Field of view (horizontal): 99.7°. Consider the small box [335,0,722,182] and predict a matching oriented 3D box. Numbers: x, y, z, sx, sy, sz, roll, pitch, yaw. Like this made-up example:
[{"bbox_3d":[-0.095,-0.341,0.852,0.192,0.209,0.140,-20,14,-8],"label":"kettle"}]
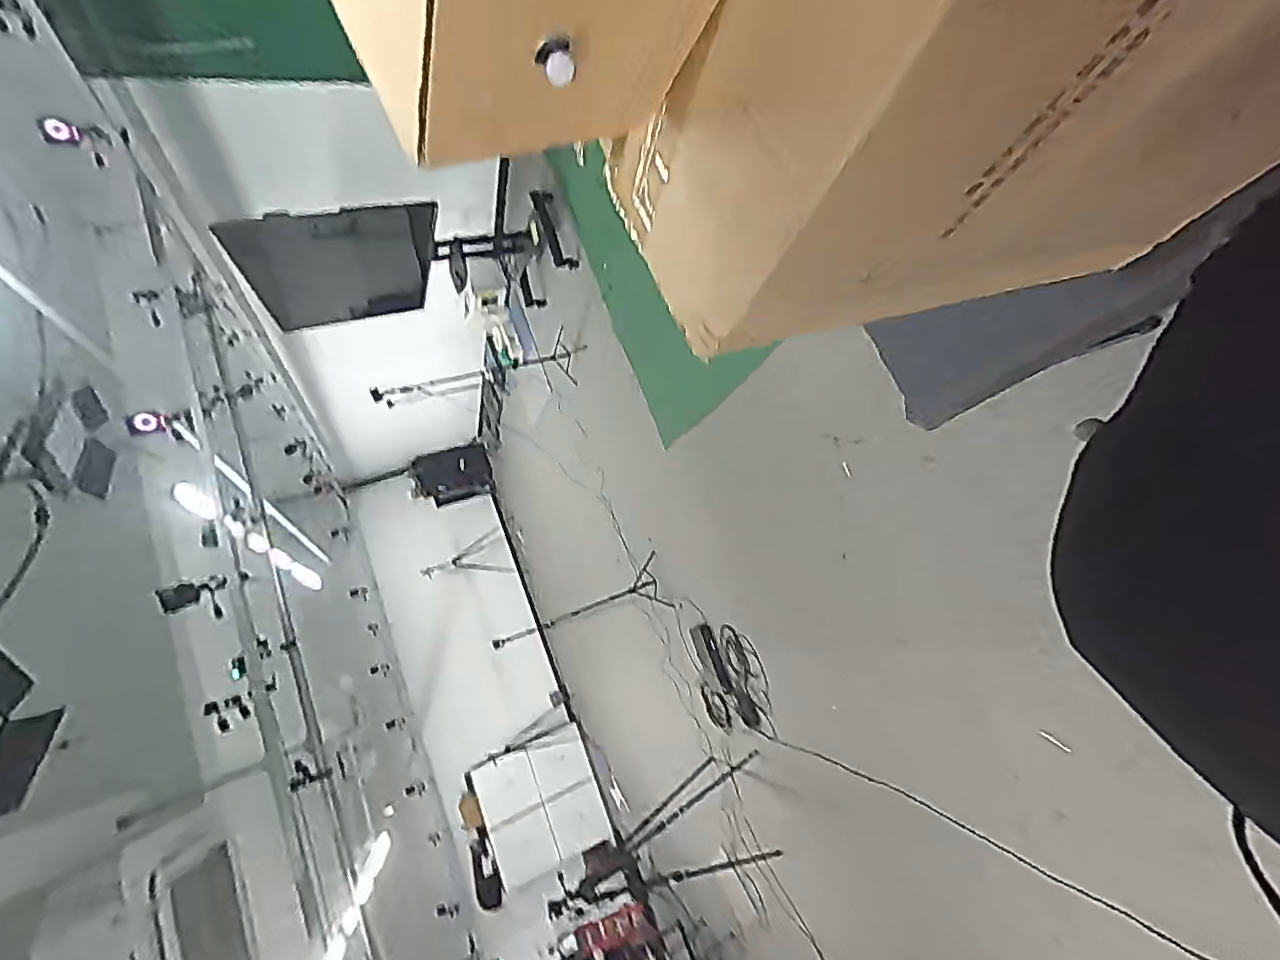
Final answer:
[{"bbox_3d":[-0.062,-0.294,0.275,0.168,0.176,0.179,62,155,-3],"label":"small box"}]
